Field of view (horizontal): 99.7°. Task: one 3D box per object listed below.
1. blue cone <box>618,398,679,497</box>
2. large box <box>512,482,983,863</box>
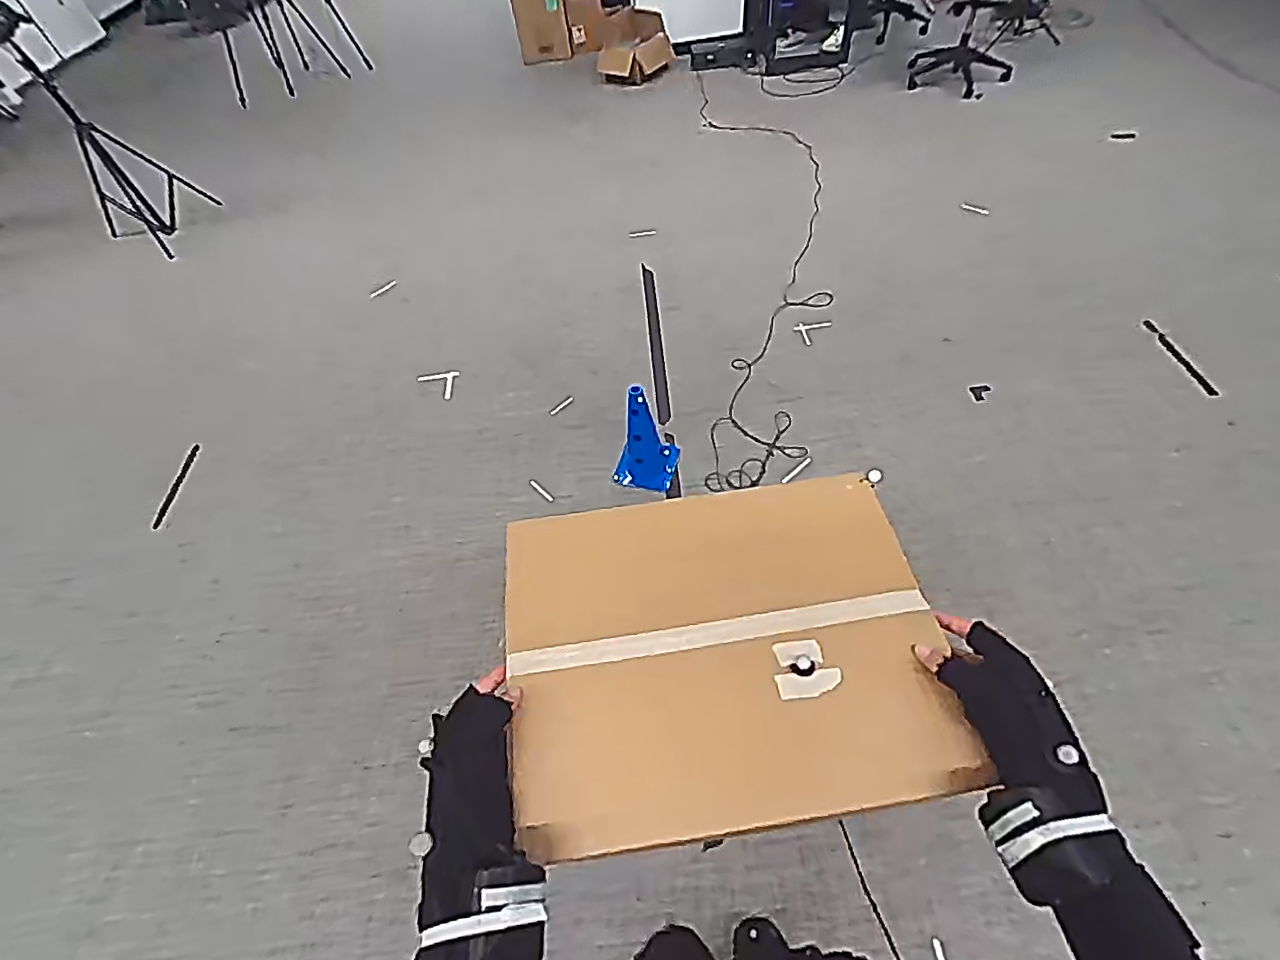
[{"bbox_3d":[0.012,-0.128,1.743,0.193,0.380,0.192,10,56,16],"label":"blue cone"},{"bbox_3d":[0.080,0.240,0.651,0.408,0.320,0.320,-8,55,-3],"label":"large box"}]
